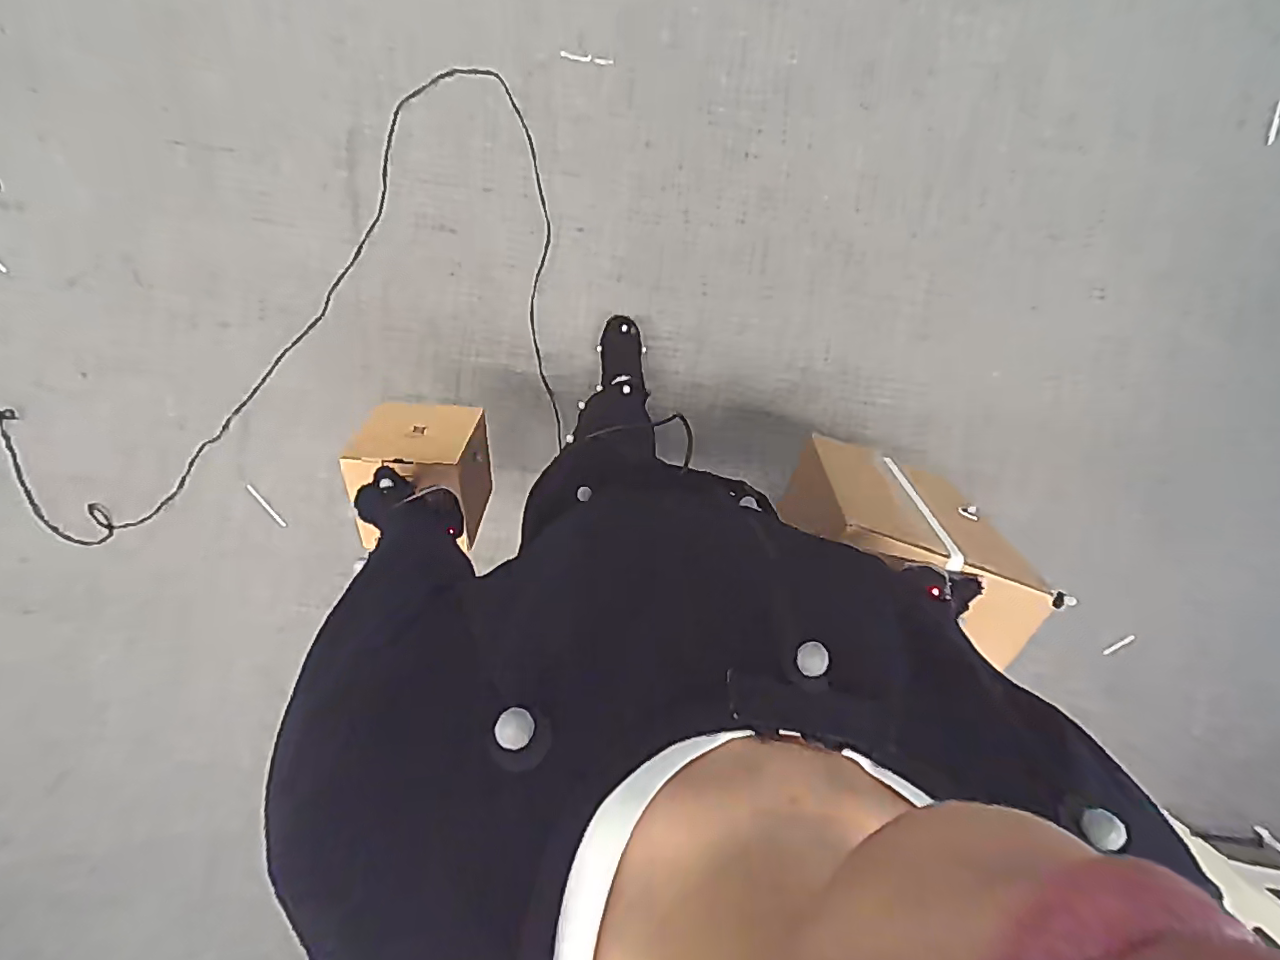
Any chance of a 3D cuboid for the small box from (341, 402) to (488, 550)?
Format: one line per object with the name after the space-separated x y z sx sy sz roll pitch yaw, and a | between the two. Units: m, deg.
-0.349 -0.009 0.876 0.168 0.179 0.176 3 125 -3 | small box
